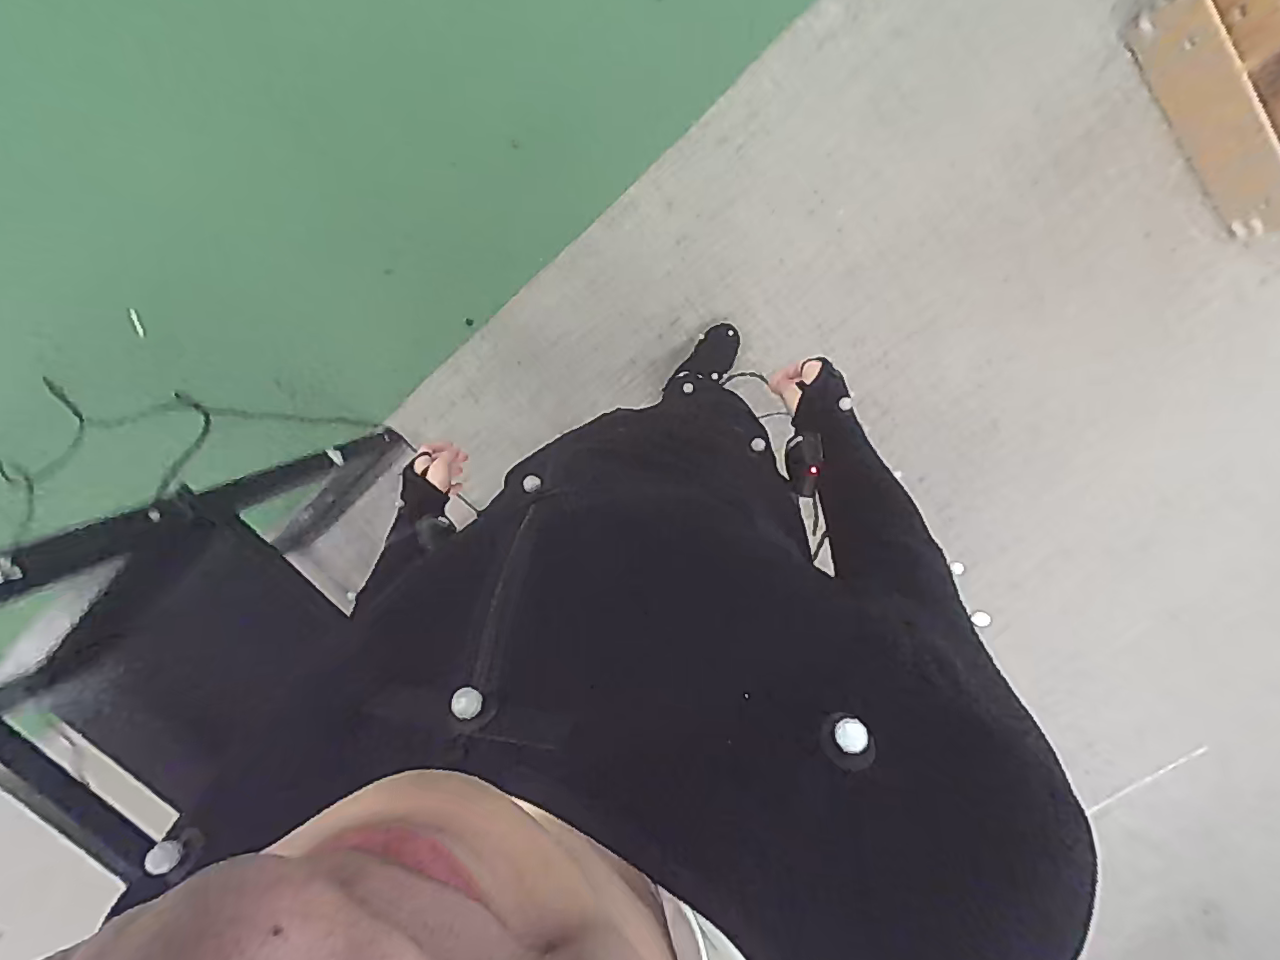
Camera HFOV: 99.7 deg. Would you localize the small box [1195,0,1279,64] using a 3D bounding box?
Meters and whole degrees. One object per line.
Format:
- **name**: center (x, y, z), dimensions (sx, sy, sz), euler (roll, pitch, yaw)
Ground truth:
- **small box**: center (1.355, -1.050, 1.152), dimensions (0.179, 0.176, 0.168), euler (-38, 100, 10)
